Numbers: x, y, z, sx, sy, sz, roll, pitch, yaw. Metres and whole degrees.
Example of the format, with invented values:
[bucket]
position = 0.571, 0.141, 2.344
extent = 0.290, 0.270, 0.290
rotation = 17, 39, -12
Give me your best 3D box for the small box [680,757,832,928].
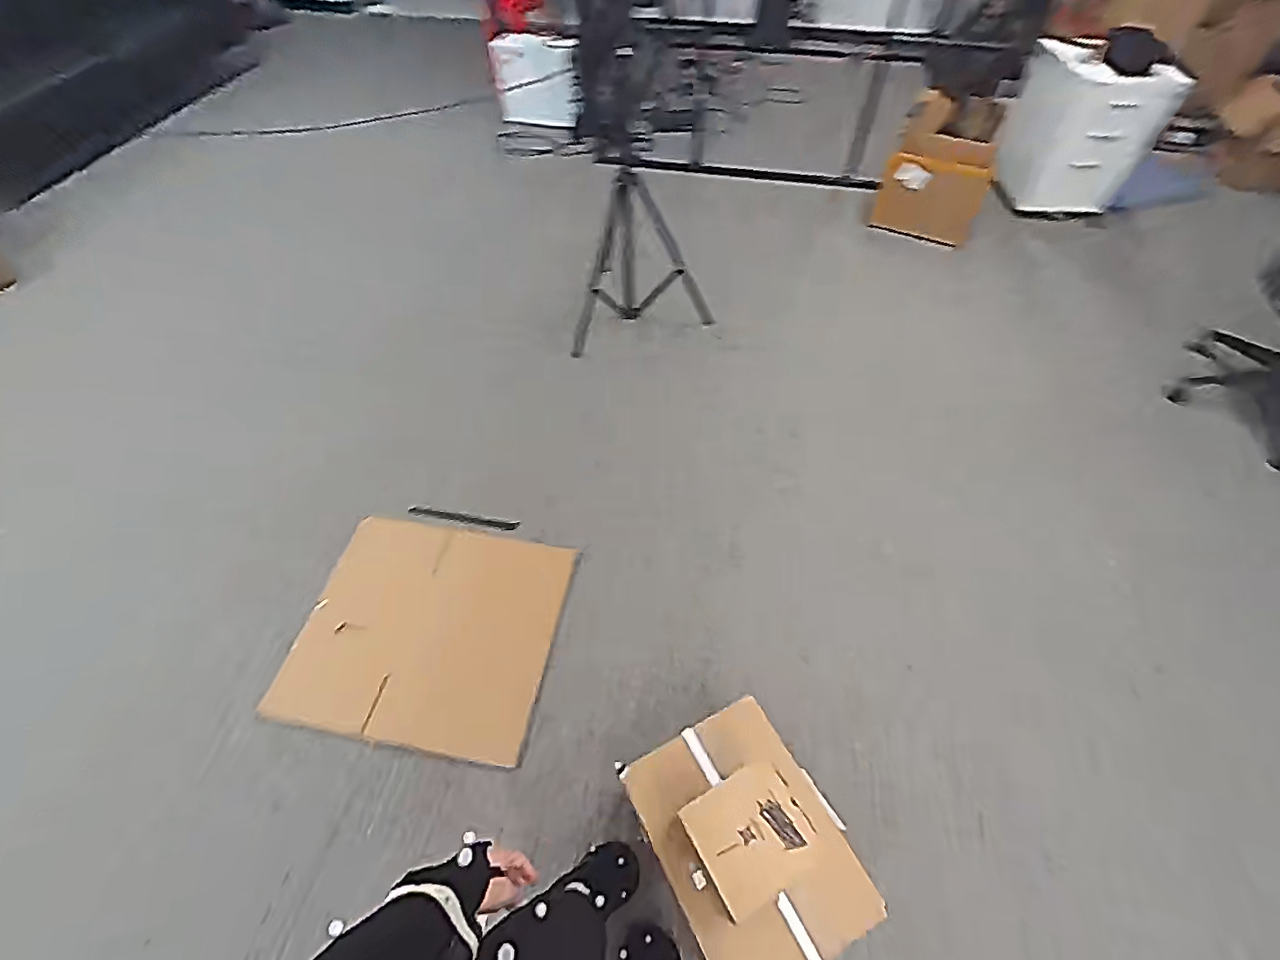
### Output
[small box]
position = 0.179, 0.593, 0.897
extent = 0.179, 0.176, 0.168
rotation = -25, 57, -16
